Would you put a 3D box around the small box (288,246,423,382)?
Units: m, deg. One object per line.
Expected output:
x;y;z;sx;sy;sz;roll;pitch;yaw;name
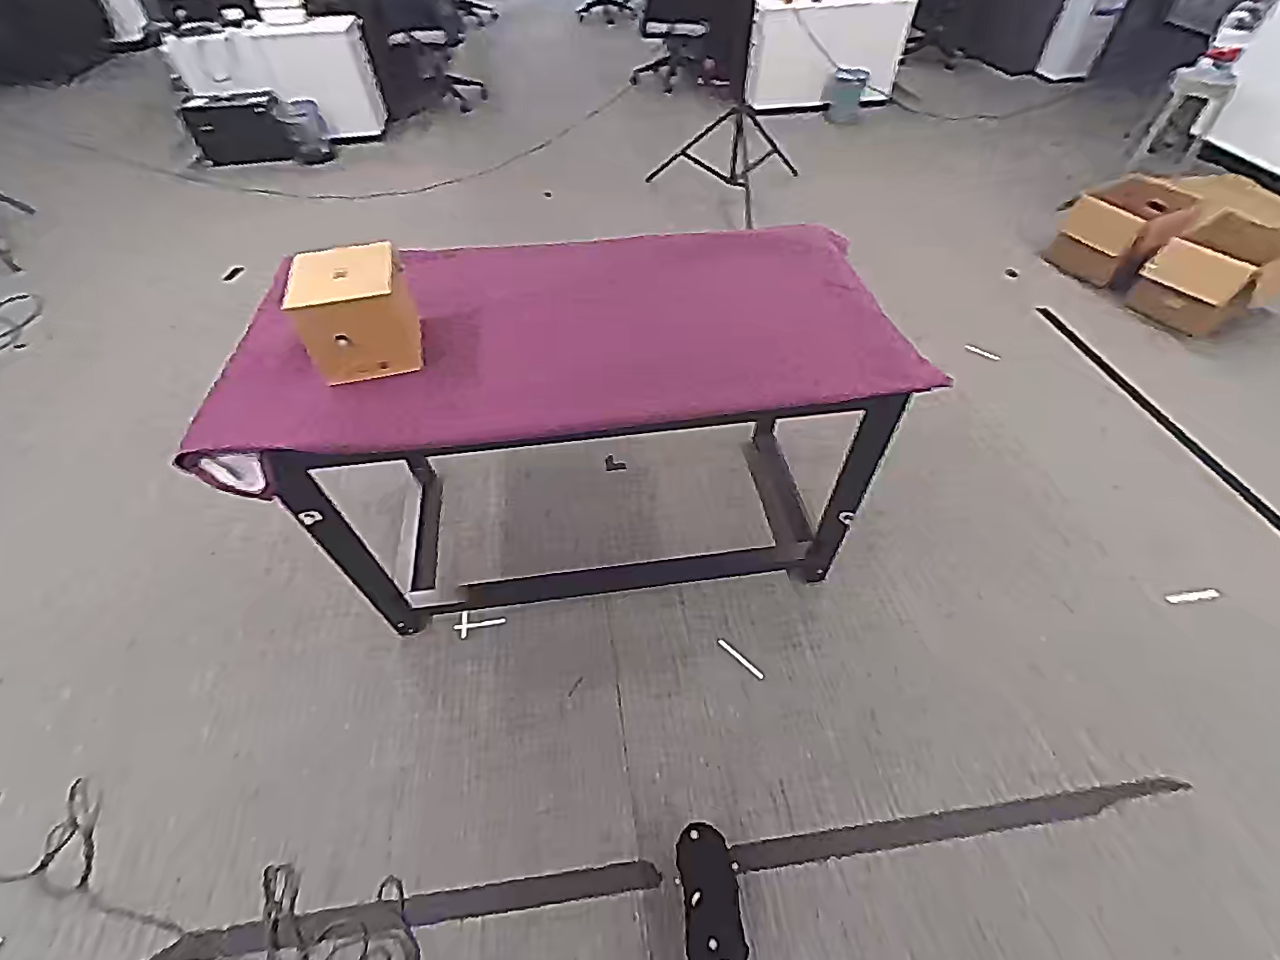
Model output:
-0.506;-0.296;0.989;0.168;0.176;0.179;-13;52;-9;small box
